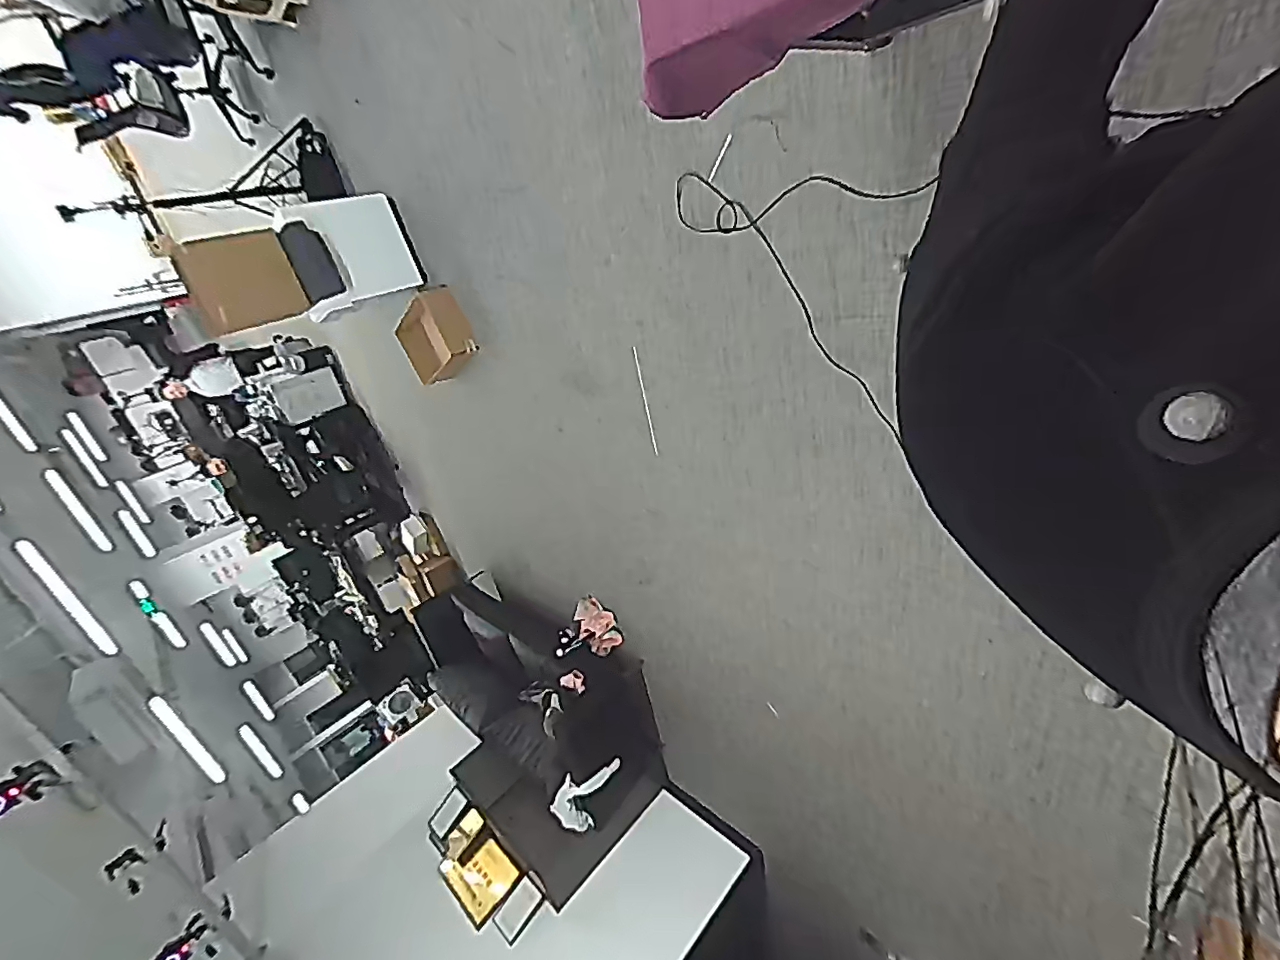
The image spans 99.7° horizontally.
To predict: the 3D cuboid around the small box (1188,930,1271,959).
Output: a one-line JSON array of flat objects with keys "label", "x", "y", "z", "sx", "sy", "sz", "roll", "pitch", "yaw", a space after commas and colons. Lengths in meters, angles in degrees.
[{"label": "small box", "x": 1.669, "y": 1.421, "z": 1.515, "sx": 0.179, "sy": 0.176, "sz": 0.168, "roll": 13, "pitch": 125, "yaw": 44}]
